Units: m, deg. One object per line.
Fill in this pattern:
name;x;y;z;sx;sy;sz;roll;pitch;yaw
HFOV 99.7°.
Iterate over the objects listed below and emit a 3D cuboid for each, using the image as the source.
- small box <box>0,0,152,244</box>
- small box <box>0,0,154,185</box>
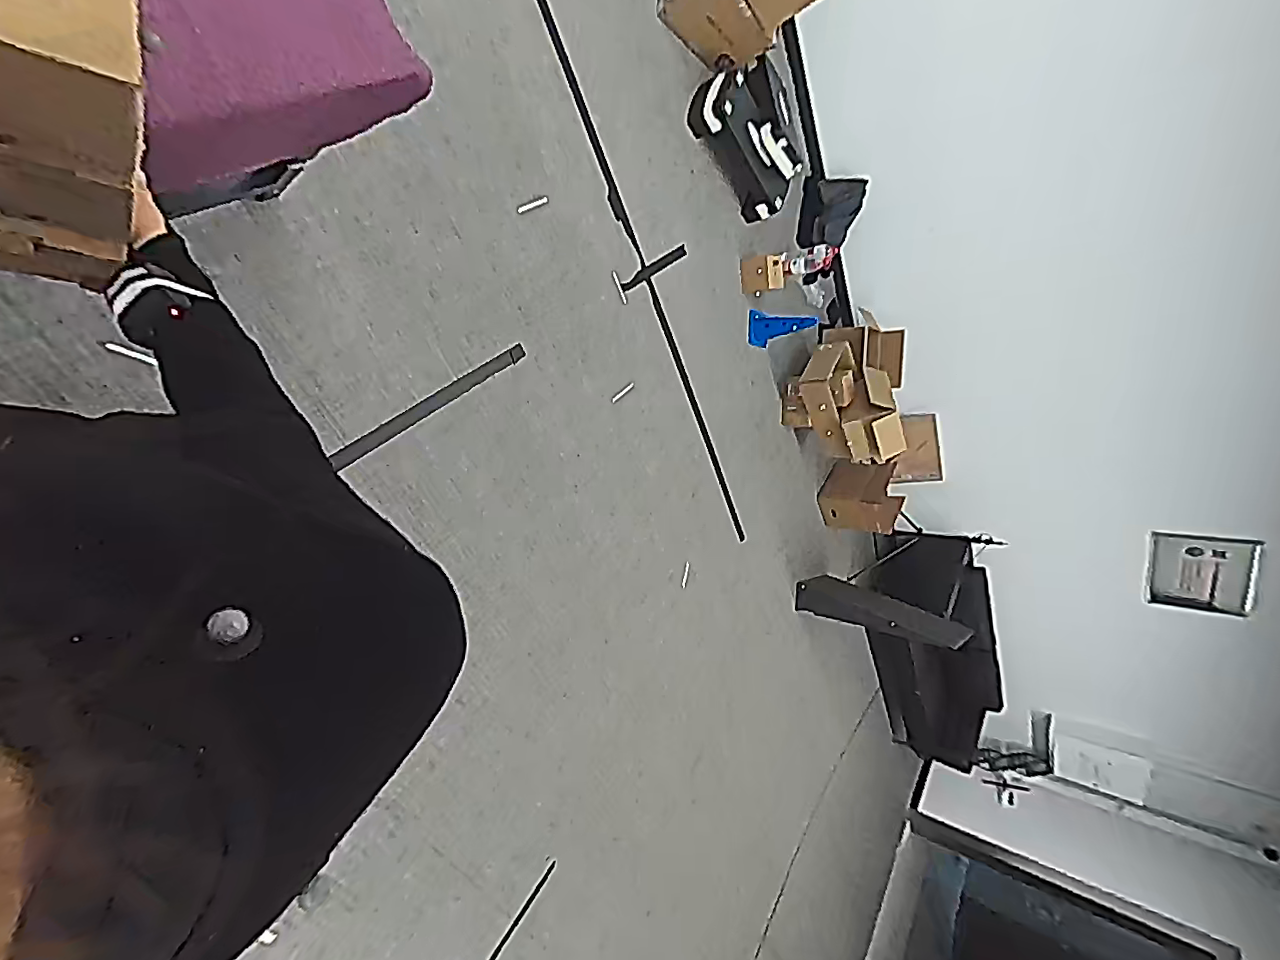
small box;-0.471;-0.299;0.392;0.168;0.176;0.179;0;95;-44
small box;-0.360;-0.282;0.274;0.168;0.176;0.179;-4;96;-44
